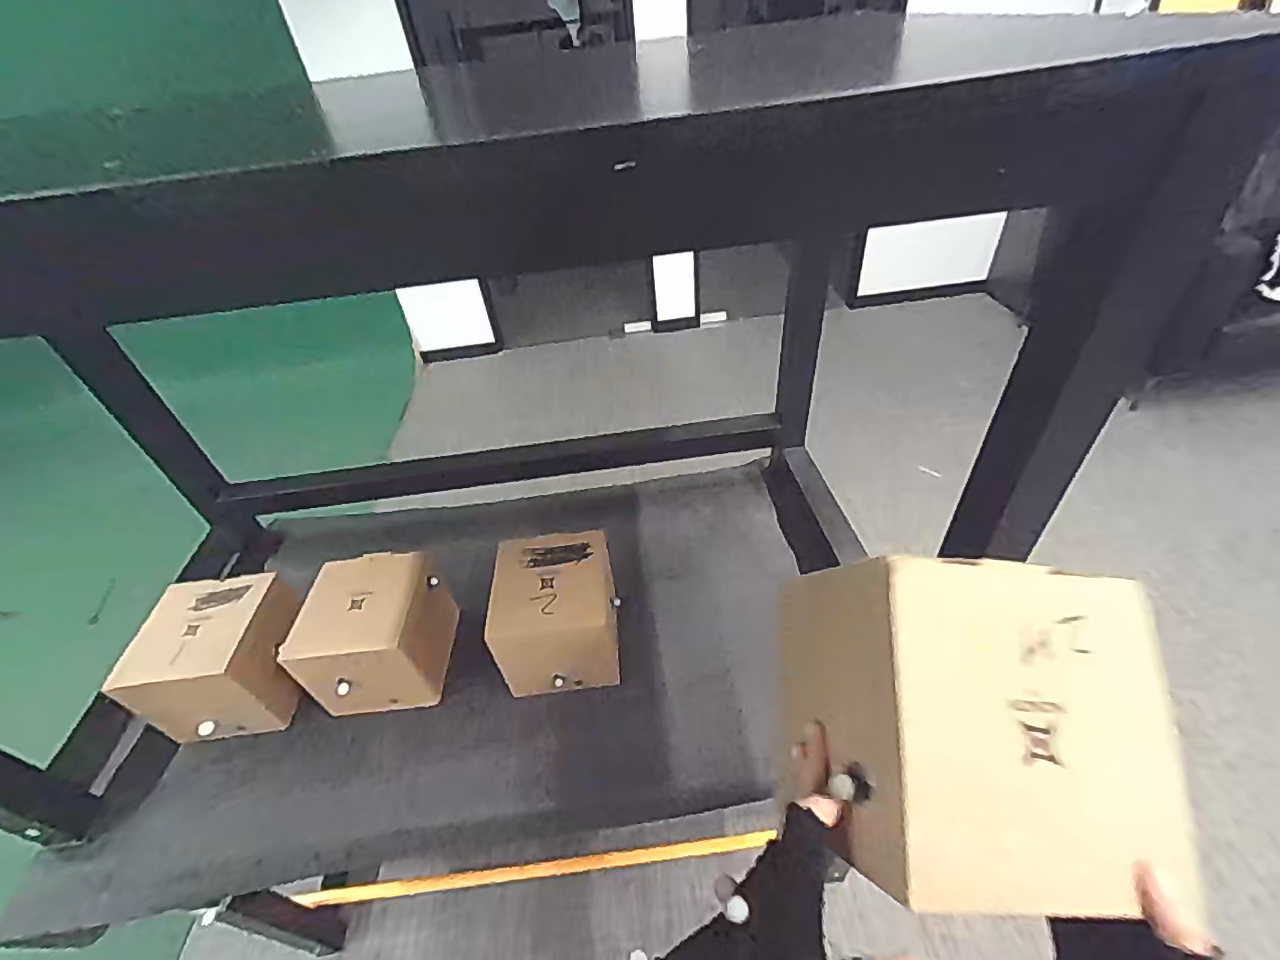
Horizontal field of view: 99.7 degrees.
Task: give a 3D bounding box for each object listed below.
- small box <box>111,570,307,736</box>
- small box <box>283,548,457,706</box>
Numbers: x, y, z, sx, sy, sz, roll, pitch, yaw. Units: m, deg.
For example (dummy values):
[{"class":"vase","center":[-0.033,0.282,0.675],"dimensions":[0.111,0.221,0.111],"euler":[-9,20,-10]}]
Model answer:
[{"class":"small box","center":[-0.626,0.265,0.834],"dimensions":[0.168,0.176,0.179],"euler":[-7,41,-1]},{"class":"small box","center":[-0.401,0.234,0.844],"dimensions":[0.168,0.176,0.179],"euler":[-7,40,0]}]
